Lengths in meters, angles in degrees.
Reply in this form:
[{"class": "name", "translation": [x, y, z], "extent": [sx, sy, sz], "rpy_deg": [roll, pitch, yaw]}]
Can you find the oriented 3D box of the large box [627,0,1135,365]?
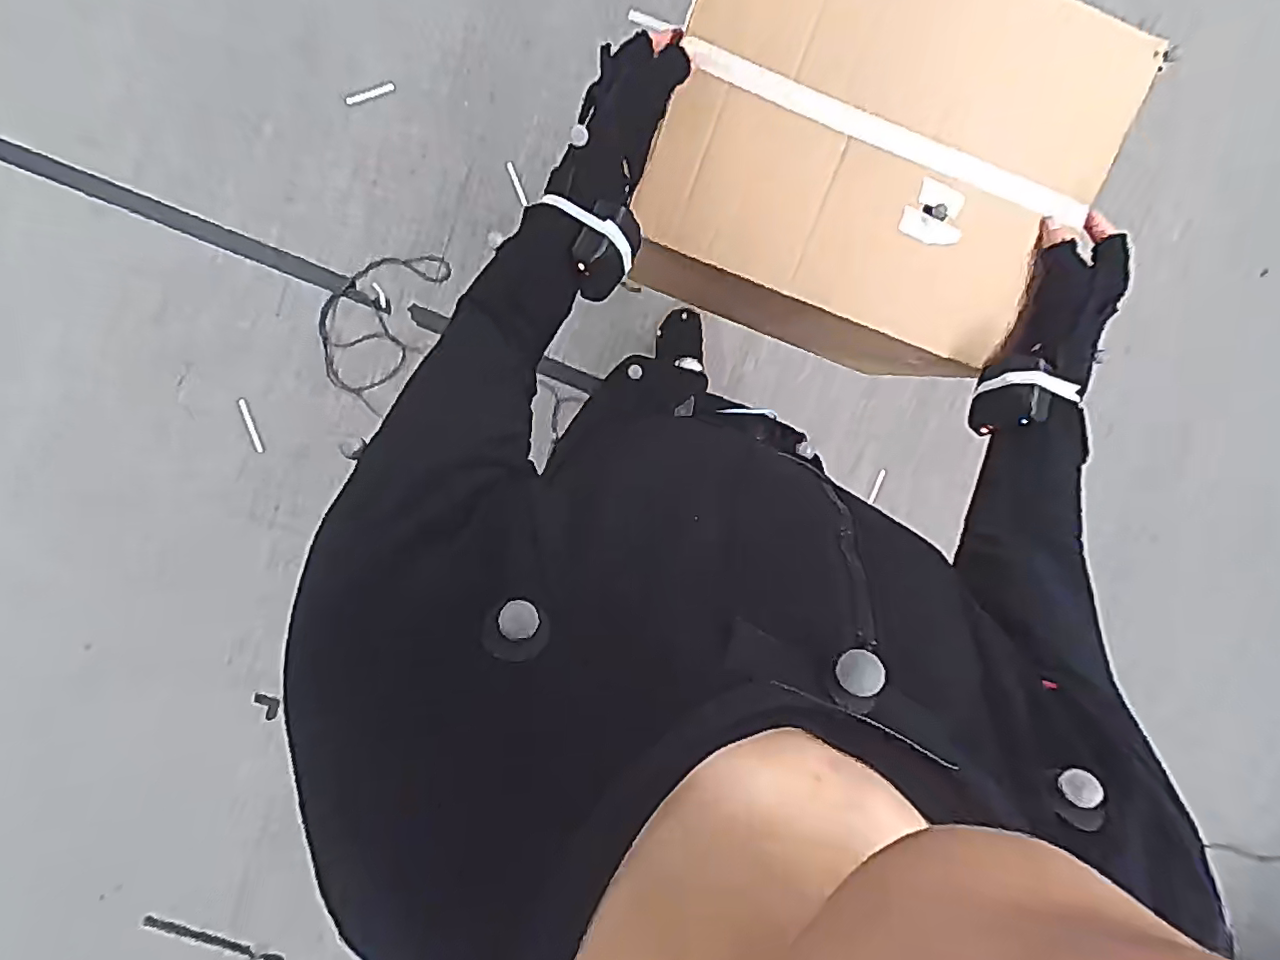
[{"class": "large box", "translation": [0.218, -0.351, 0.654], "extent": [0.408, 0.320, 0.320], "rpy_deg": [20, 102, -6]}]
